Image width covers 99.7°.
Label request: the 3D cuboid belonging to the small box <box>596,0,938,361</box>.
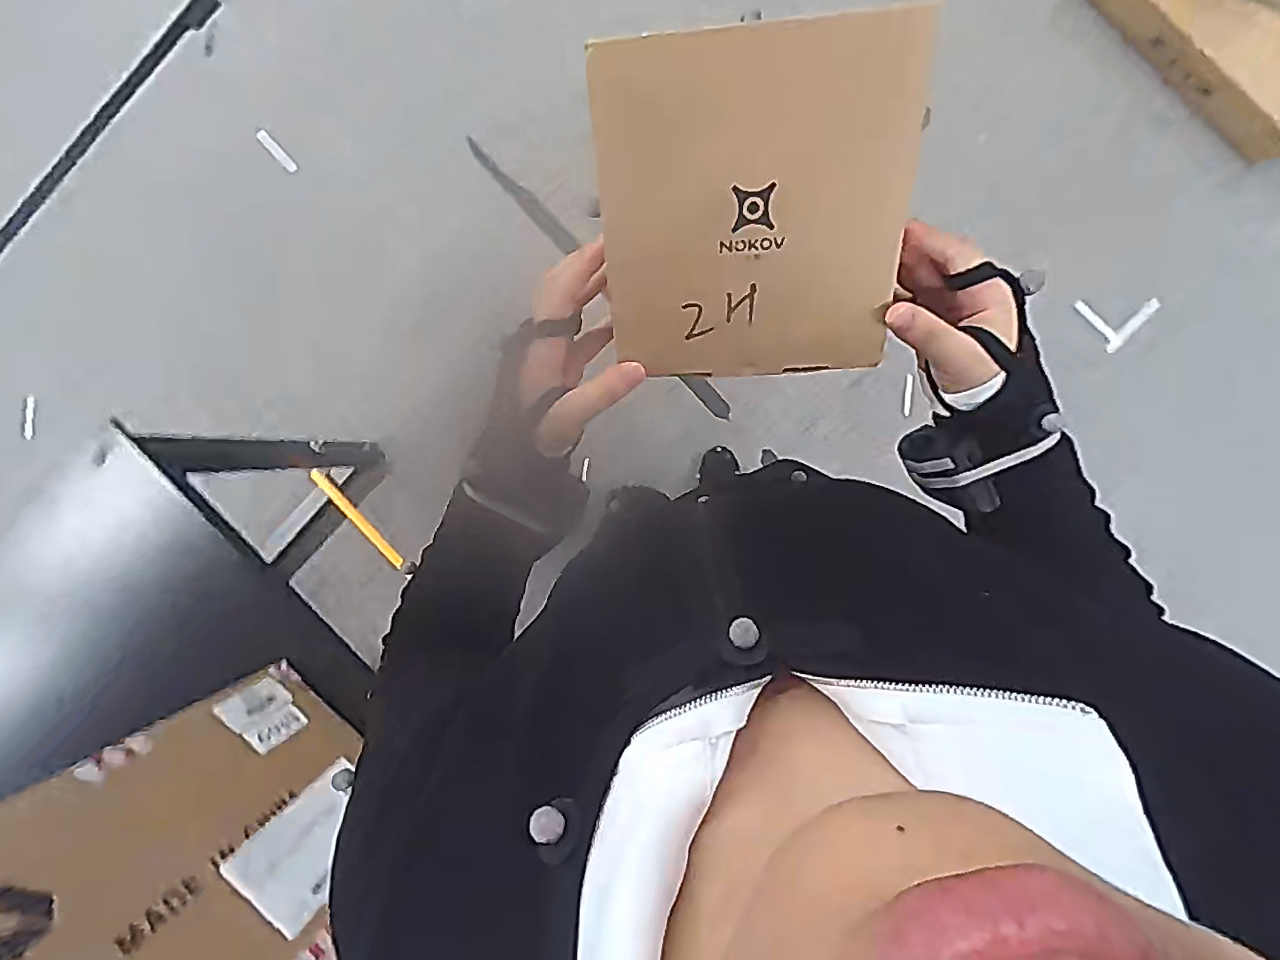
[{"bbox_3d":[0.068,-0.194,0.366,0.168,0.176,0.179,-1,123,6],"label":"small box"}]
